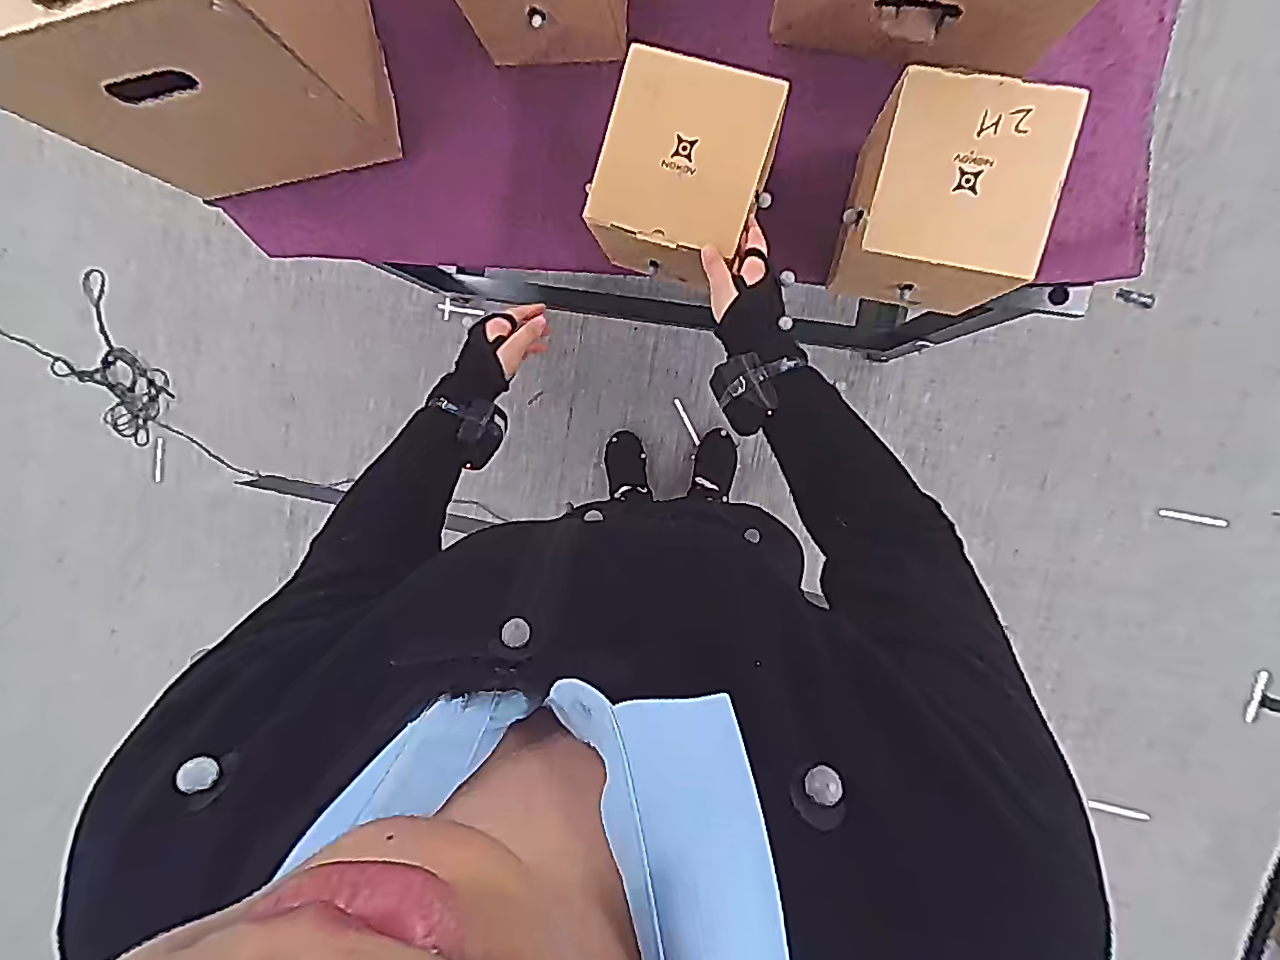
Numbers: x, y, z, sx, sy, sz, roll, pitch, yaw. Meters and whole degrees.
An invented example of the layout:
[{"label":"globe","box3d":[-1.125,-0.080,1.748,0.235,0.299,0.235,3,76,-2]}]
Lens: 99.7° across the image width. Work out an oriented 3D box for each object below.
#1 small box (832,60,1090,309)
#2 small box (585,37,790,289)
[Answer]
[{"label":"small box","box3d":[0.322,-0.299,0.587,0.168,0.176,0.179,13,96,5]},{"label":"small box","box3d":[0.053,-0.342,0.619,0.168,0.176,0.179,18,99,5]}]
